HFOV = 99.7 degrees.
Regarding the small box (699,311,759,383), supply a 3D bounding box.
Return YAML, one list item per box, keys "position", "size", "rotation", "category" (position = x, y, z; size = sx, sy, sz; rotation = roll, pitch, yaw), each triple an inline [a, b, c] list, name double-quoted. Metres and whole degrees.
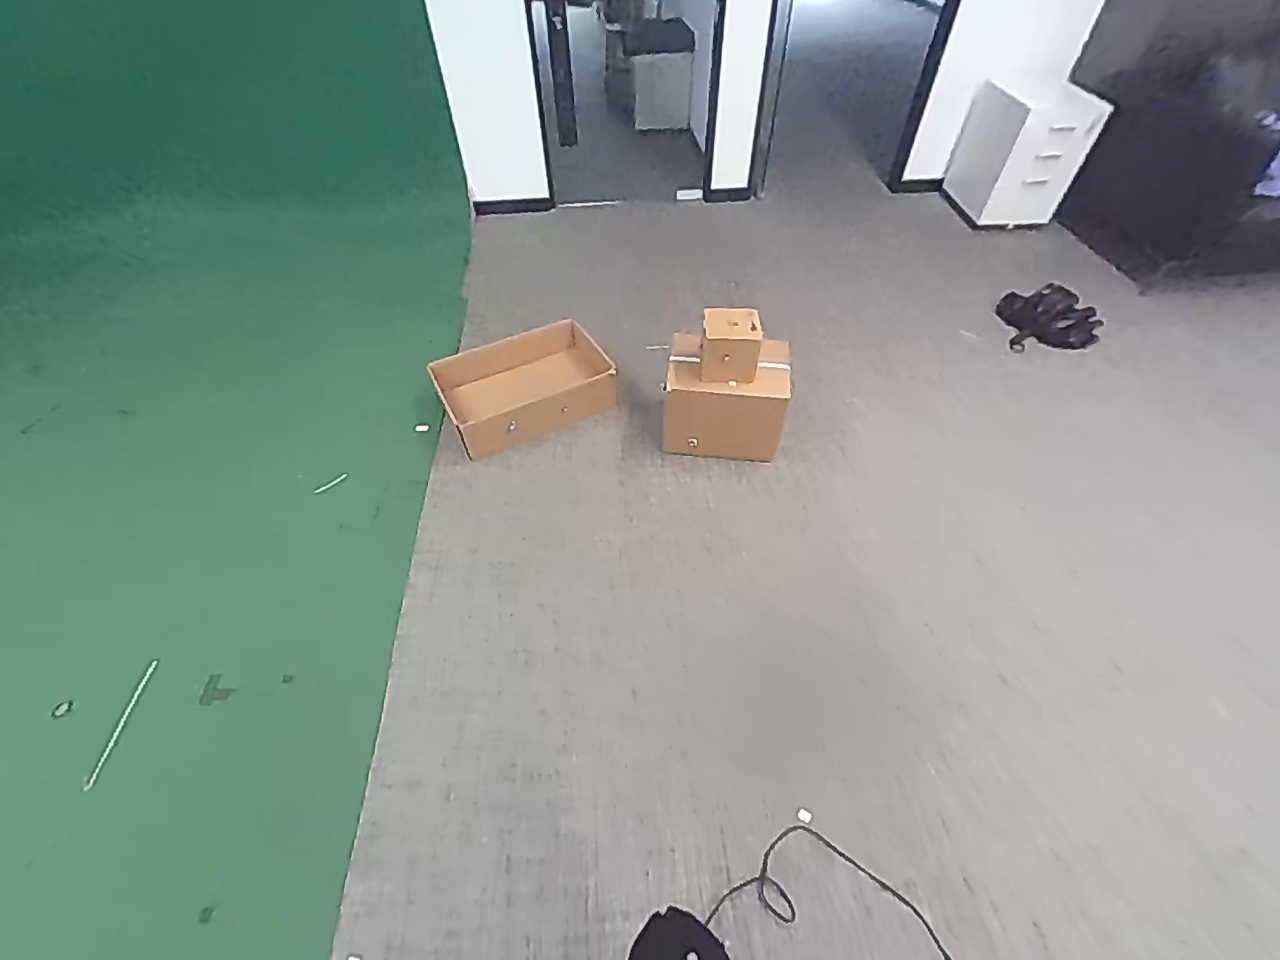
- position: [0.281, -0.429, 1.753]
  size: [0.179, 0.176, 0.168]
  rotation: [1, 50, 2]
  category: "small box"
